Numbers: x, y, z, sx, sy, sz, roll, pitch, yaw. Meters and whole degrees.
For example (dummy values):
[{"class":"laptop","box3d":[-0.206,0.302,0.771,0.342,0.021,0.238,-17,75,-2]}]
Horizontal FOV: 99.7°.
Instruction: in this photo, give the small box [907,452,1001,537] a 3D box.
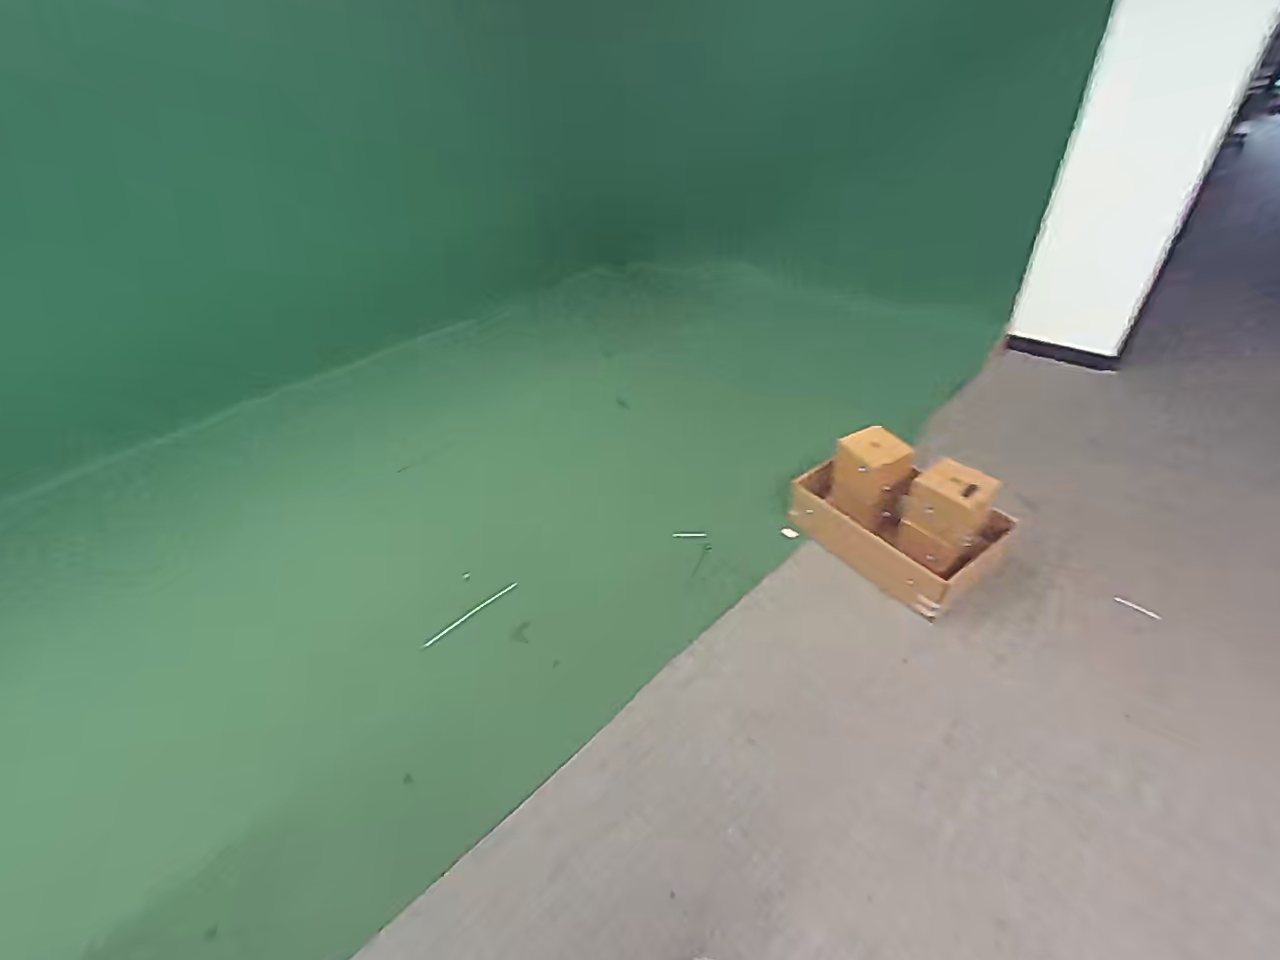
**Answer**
[{"class":"small box","box3d":[0.951,0.050,1.652,0.168,0.176,0.179,-30,43,-22]}]

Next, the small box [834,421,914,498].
[{"class":"small box","box3d":[0.781,-0.068,1.827,0.168,0.176,0.179,-21,44,-14]}]
